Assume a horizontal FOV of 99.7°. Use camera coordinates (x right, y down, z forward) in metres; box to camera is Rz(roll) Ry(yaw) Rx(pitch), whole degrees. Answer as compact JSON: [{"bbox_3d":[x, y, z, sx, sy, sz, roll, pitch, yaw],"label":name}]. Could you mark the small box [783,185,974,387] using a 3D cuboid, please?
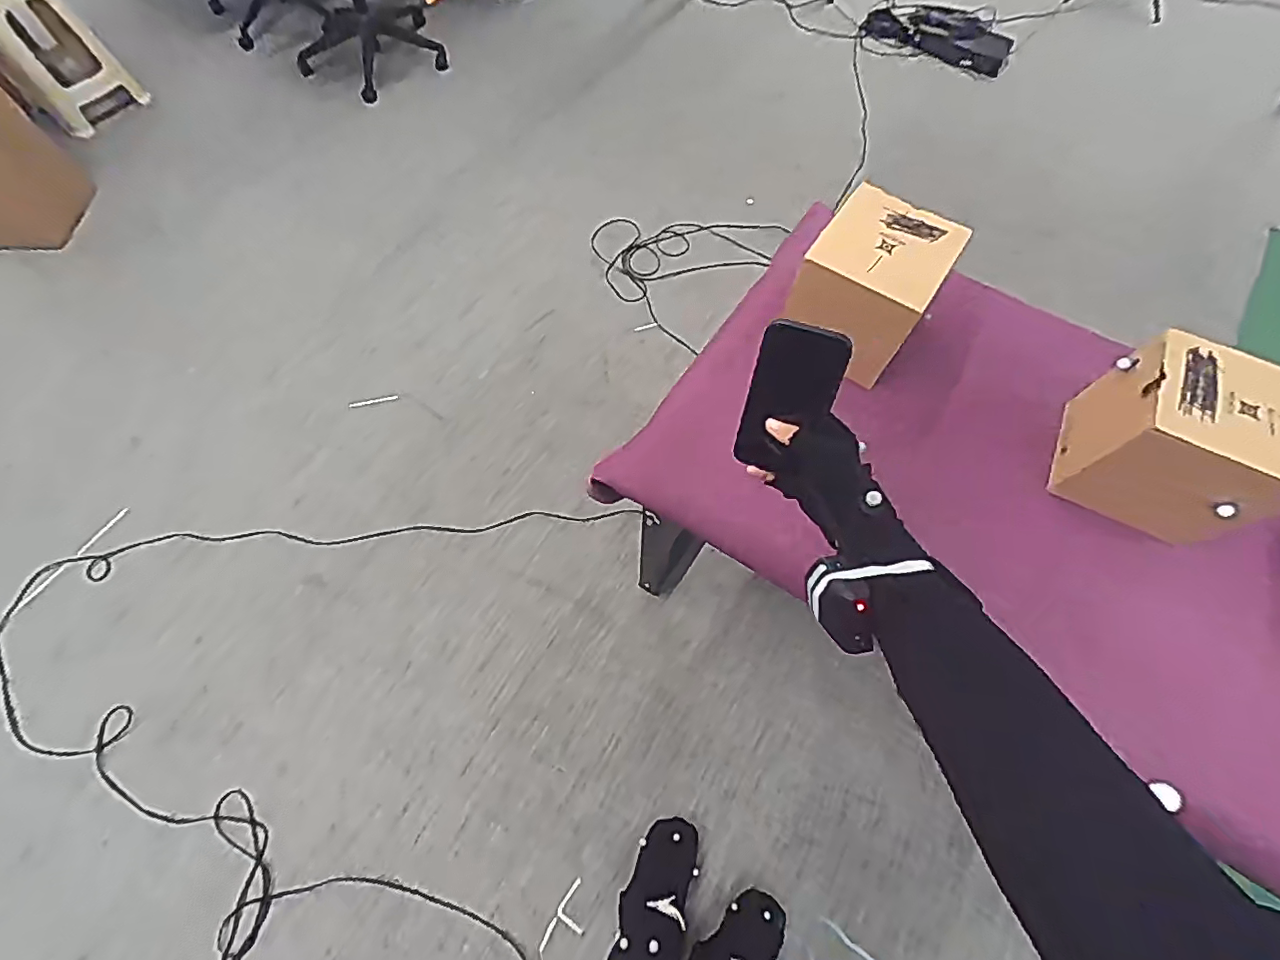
[{"bbox_3d":[0.327,-0.271,0.777,0.168,0.176,0.179,33,70,14],"label":"small box"}]
